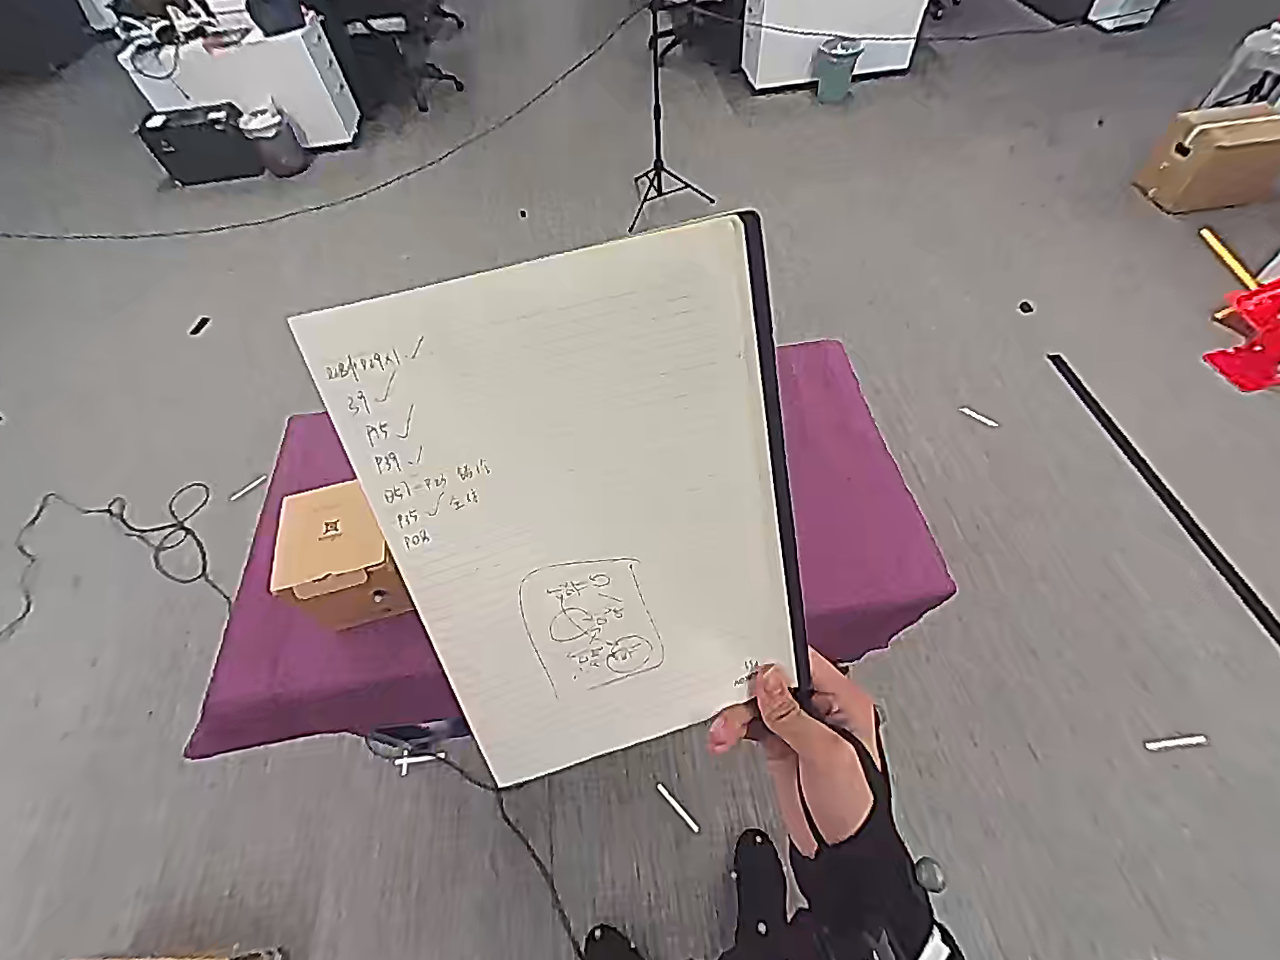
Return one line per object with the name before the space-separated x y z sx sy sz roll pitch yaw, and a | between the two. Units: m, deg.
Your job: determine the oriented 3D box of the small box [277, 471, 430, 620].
small box | -0.461 0.117 0.898 0.168 0.176 0.179 -14 56 -5
